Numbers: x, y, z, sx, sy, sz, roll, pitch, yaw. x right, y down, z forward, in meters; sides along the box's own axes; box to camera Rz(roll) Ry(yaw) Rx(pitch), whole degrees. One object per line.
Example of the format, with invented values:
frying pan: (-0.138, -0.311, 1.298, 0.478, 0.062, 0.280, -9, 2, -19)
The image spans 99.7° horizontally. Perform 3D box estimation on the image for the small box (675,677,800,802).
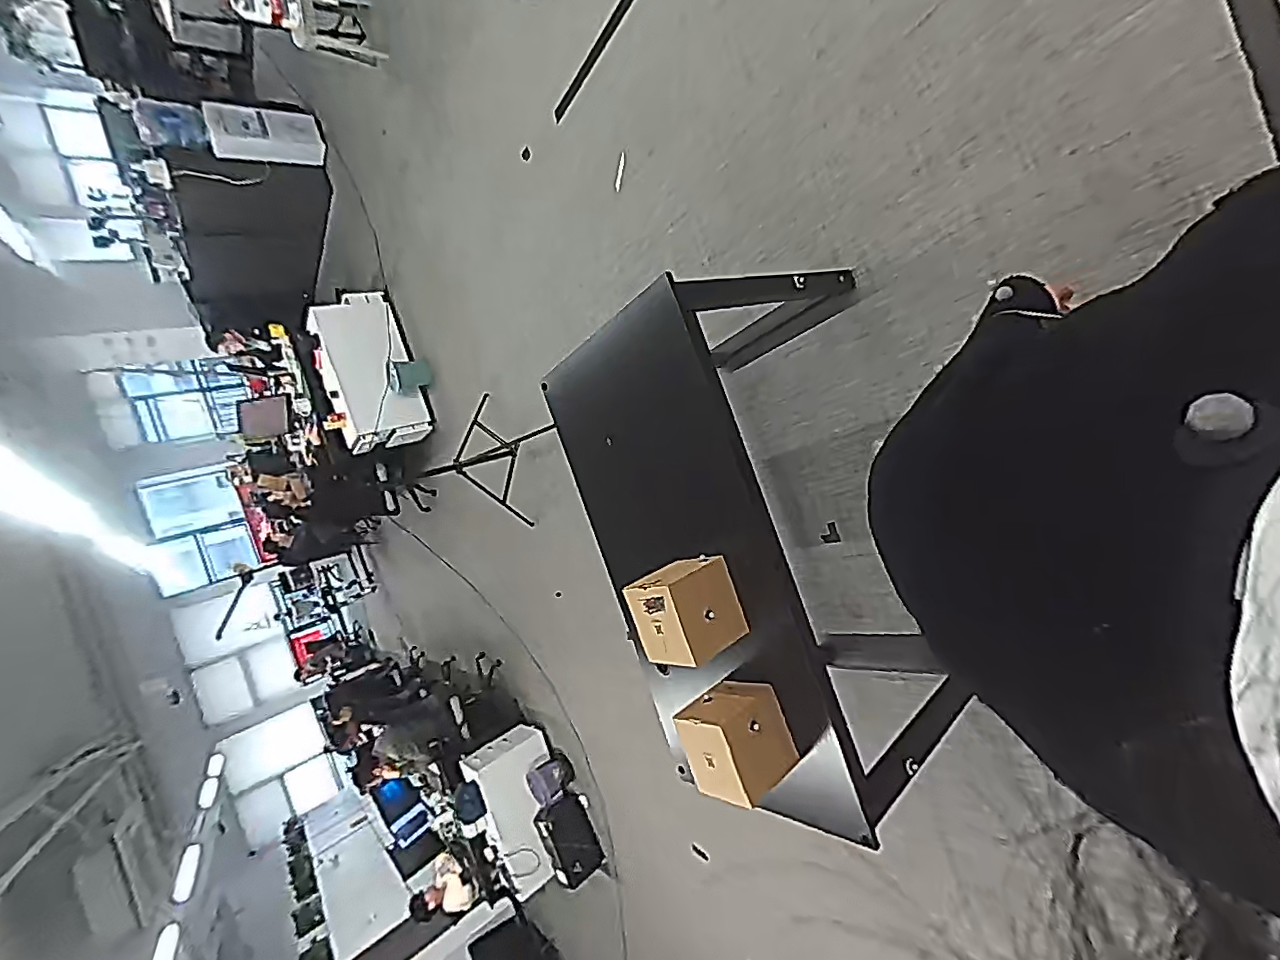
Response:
small box: (0.211, 0.546, 1.168, 0.168, 0.176, 0.179, -25, 86, 54)

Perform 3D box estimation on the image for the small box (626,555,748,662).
small box: (0.104, 0.271, 1.177, 0.168, 0.176, 0.179, -19, 91, 54)
